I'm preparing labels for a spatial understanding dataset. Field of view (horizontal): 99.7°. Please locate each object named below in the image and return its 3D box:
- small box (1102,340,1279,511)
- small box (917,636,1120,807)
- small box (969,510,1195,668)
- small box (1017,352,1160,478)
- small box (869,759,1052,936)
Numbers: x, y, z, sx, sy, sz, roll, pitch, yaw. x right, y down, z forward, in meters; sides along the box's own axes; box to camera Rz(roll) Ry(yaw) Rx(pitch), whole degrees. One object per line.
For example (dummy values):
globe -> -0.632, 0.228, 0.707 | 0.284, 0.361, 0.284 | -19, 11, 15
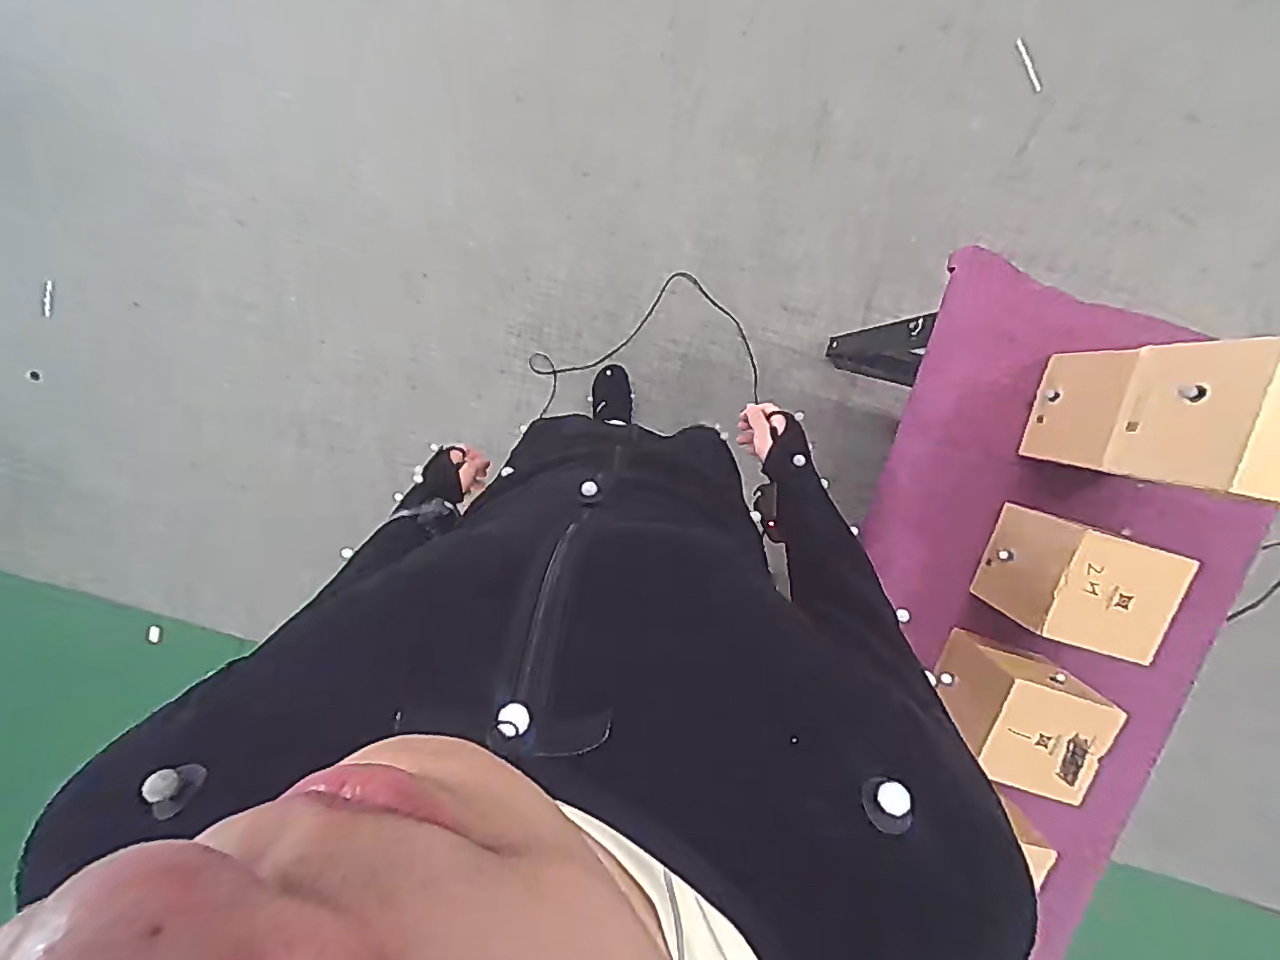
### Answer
small box -> 0.708, -0.058, 0.634 | 0.179, 0.176, 0.168 | 11, 99, -3
small box -> 0.595, 0.378, 0.876 | 0.179, 0.176, 0.168 | 18, 100, -2
small box -> 0.664, 0.157, 0.836 | 0.179, 0.176, 0.168 | 16, 100, -2
small box -> 0.713, -0.085, 0.793 | 0.179, 0.176, 0.168 | 11, 99, -1
small box -> 0.528, 0.610, 0.918 | 0.179, 0.176, 0.168 | 17, 99, -3
